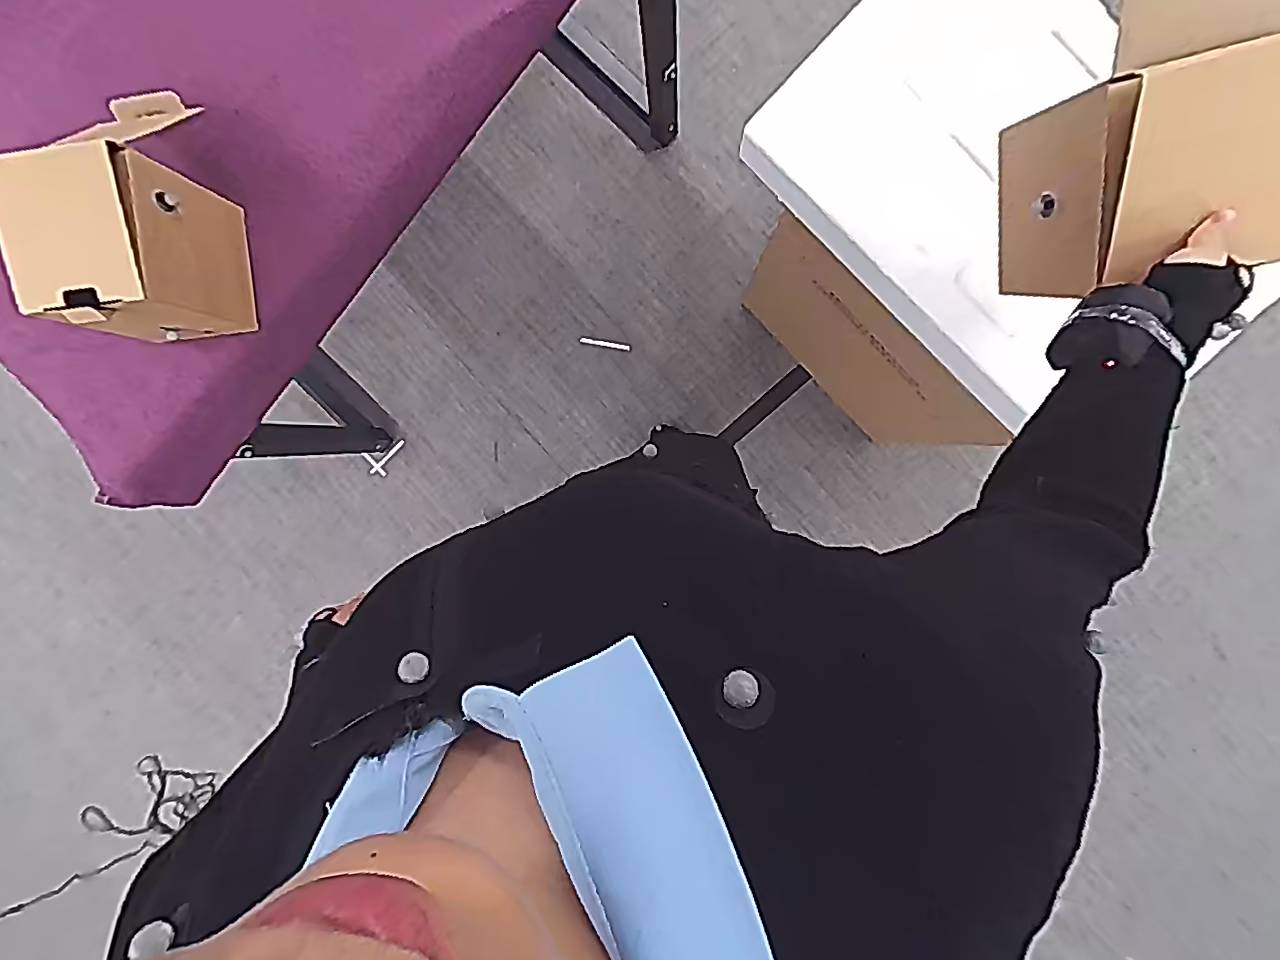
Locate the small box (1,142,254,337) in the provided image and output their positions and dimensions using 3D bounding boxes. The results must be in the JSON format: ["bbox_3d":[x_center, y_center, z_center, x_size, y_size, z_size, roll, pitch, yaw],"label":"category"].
[{"bbox_3d":[-0.646,-0.297,0.703,0.168,0.176,0.179,-4,93,6],"label":"small box"}]
